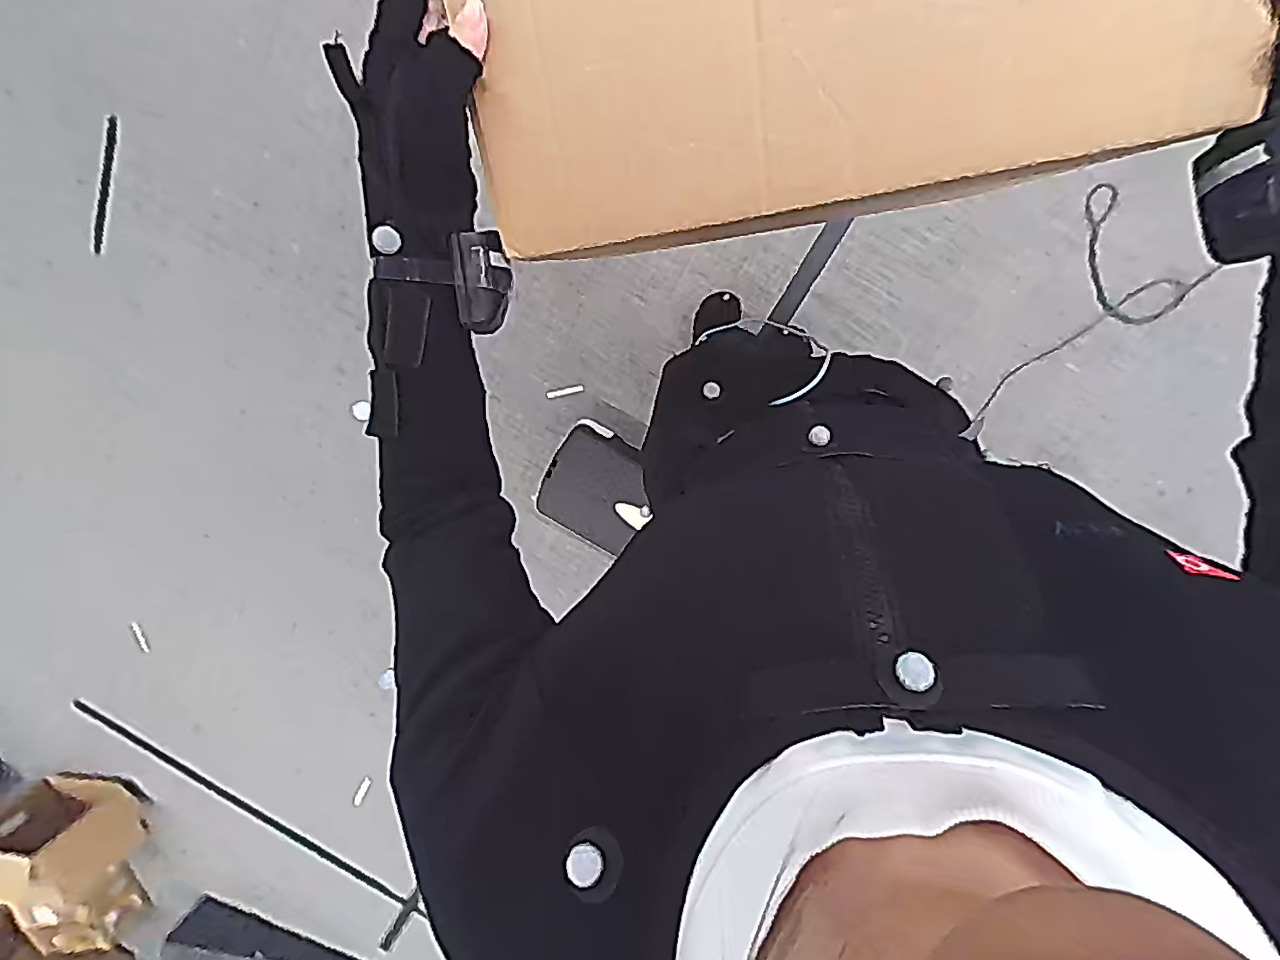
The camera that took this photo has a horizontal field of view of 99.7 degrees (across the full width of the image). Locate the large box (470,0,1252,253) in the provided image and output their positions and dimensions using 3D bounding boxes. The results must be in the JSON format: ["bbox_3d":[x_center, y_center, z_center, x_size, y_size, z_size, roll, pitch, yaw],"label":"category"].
[{"bbox_3d":[0.111,-0.370,0.404,0.408,0.320,0.320,-5,112,11],"label":"large box"}]
